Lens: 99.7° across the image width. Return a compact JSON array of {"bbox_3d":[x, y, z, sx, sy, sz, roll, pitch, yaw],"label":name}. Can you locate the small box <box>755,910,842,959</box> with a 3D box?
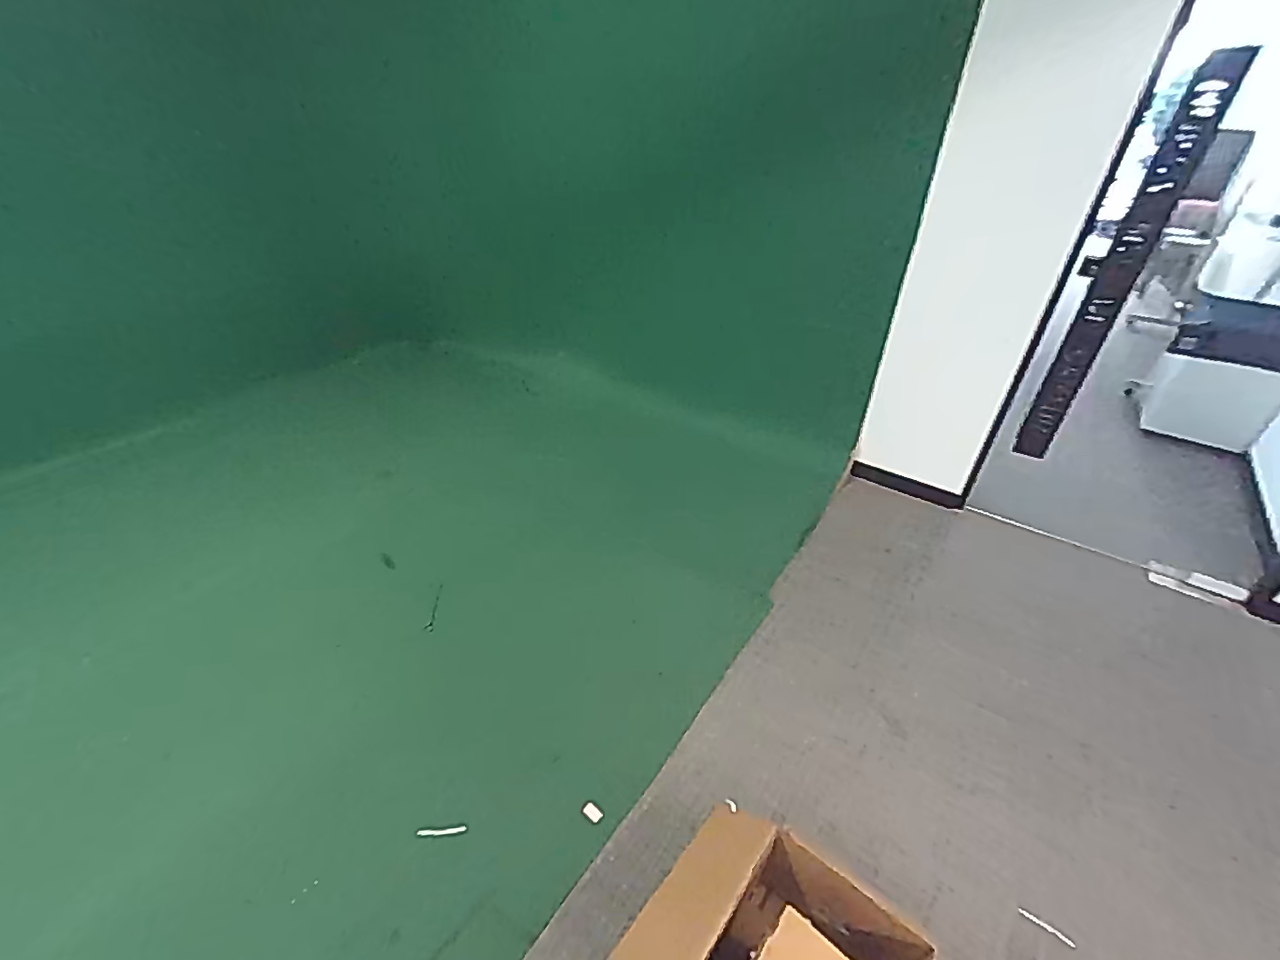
[{"bbox_3d":[0.263,0.881,0.898,0.179,0.176,0.168,28,44,31],"label":"small box"}]
